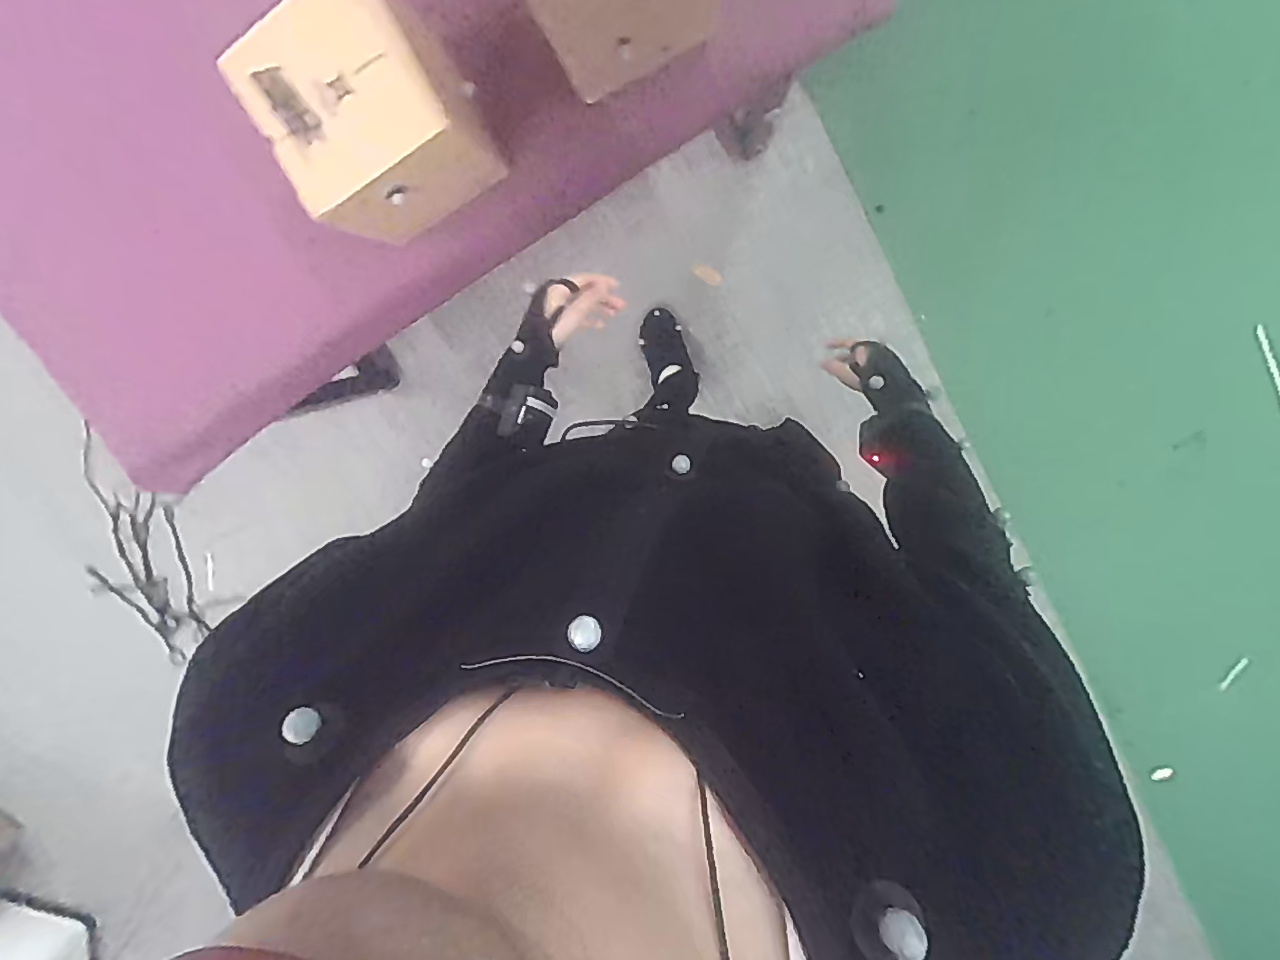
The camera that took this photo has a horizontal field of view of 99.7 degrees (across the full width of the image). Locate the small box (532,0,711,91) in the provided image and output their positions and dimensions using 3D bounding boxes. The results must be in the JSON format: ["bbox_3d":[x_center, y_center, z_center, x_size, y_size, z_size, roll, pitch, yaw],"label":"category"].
[{"bbox_3d":[-0.034,-0.520,0.523,0.168,0.176,0.179,-22,103,12],"label":"small box"}]

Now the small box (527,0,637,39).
[{"bbox_3d":[-0.045,-0.455,0.371,0.168,0.176,0.179,-26,103,13],"label":"small box"}]
